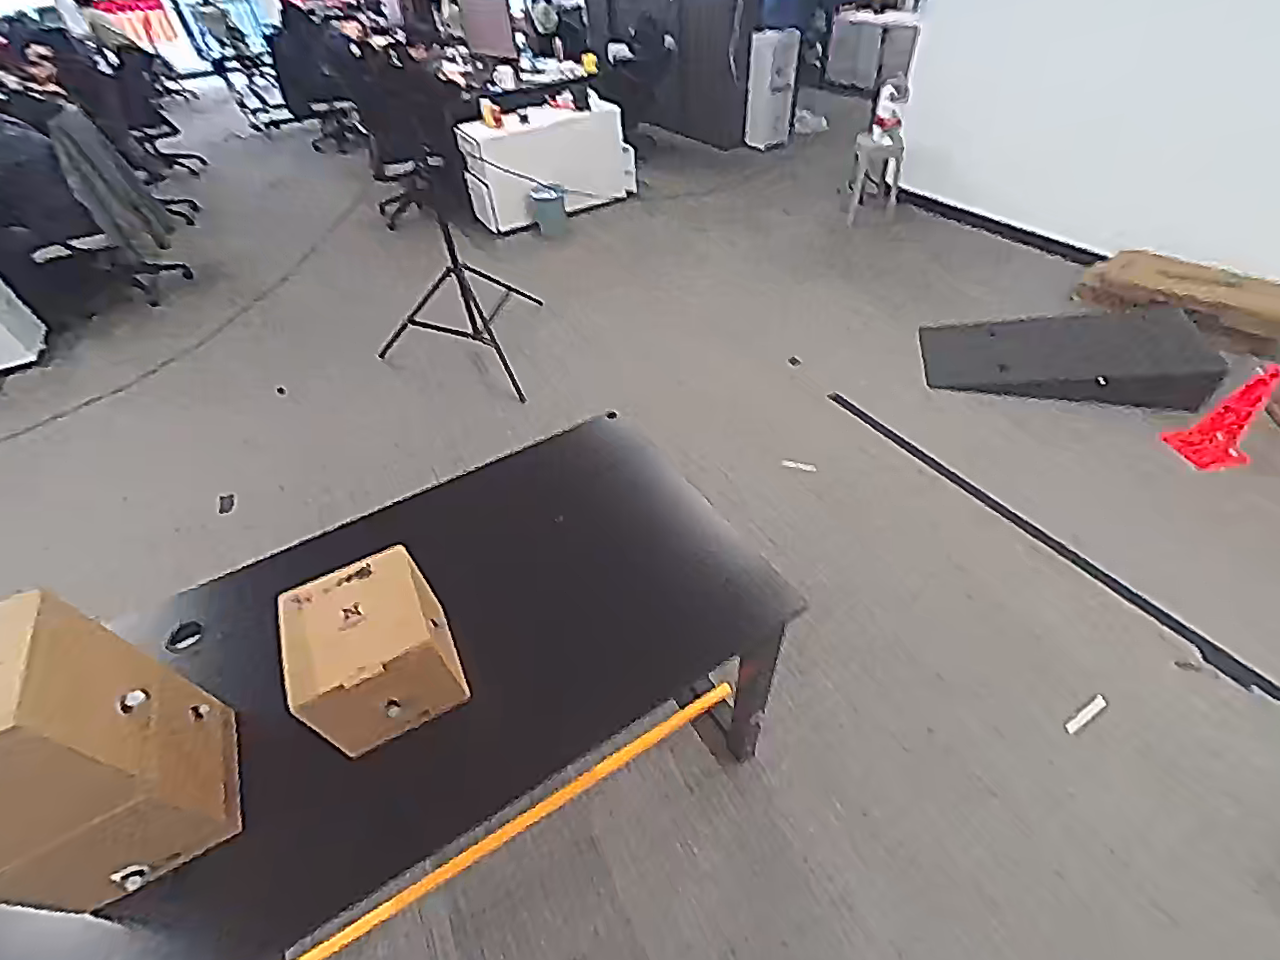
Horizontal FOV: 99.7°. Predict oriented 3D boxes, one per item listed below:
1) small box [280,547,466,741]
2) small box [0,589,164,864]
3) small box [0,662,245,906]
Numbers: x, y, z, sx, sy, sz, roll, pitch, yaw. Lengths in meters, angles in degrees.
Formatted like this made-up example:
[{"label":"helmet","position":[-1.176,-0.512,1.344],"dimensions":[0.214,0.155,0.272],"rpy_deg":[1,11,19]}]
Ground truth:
[{"label":"small box","position":[-0.359,0.231,0.745],"dimensions":[0.168,0.176,0.179],"rpy_deg":[-24,49,-17]},{"label":"small box","position":[-0.619,0.247,0.524],"dimensions":[0.179,0.176,0.168],"rpy_deg":[-27,49,-19]},{"label":"small box","position":[-0.610,0.360,0.644],"dimensions":[0.168,0.176,0.179],"rpy_deg":[-27,50,-18]}]
